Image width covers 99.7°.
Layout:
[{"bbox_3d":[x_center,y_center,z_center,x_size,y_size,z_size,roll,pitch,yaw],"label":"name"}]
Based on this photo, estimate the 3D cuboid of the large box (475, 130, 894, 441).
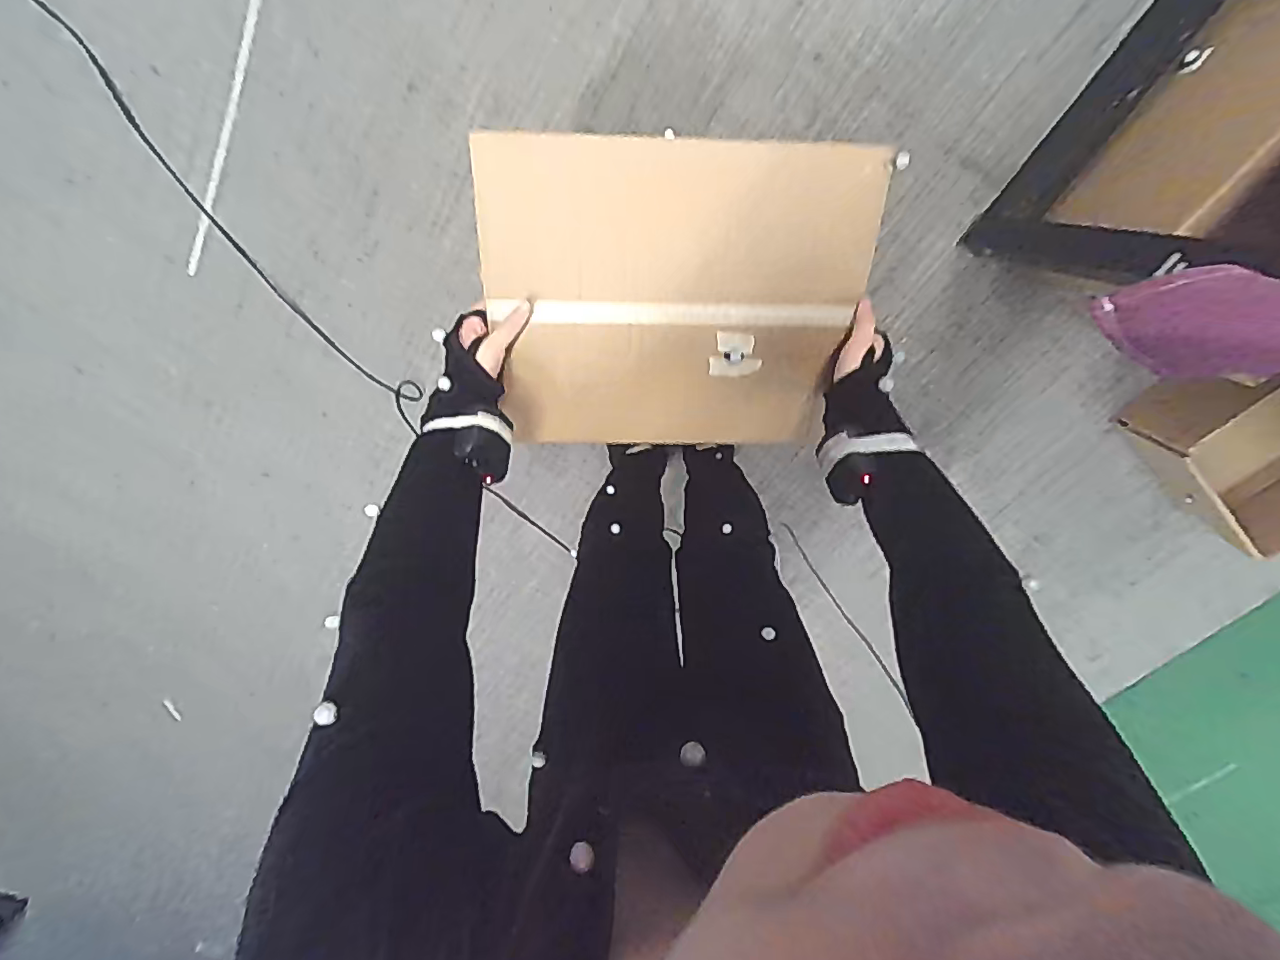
[{"bbox_3d":[0.032,-0.253,0.703,0.408,0.320,0.320,0,120,-4],"label":"large box"}]
